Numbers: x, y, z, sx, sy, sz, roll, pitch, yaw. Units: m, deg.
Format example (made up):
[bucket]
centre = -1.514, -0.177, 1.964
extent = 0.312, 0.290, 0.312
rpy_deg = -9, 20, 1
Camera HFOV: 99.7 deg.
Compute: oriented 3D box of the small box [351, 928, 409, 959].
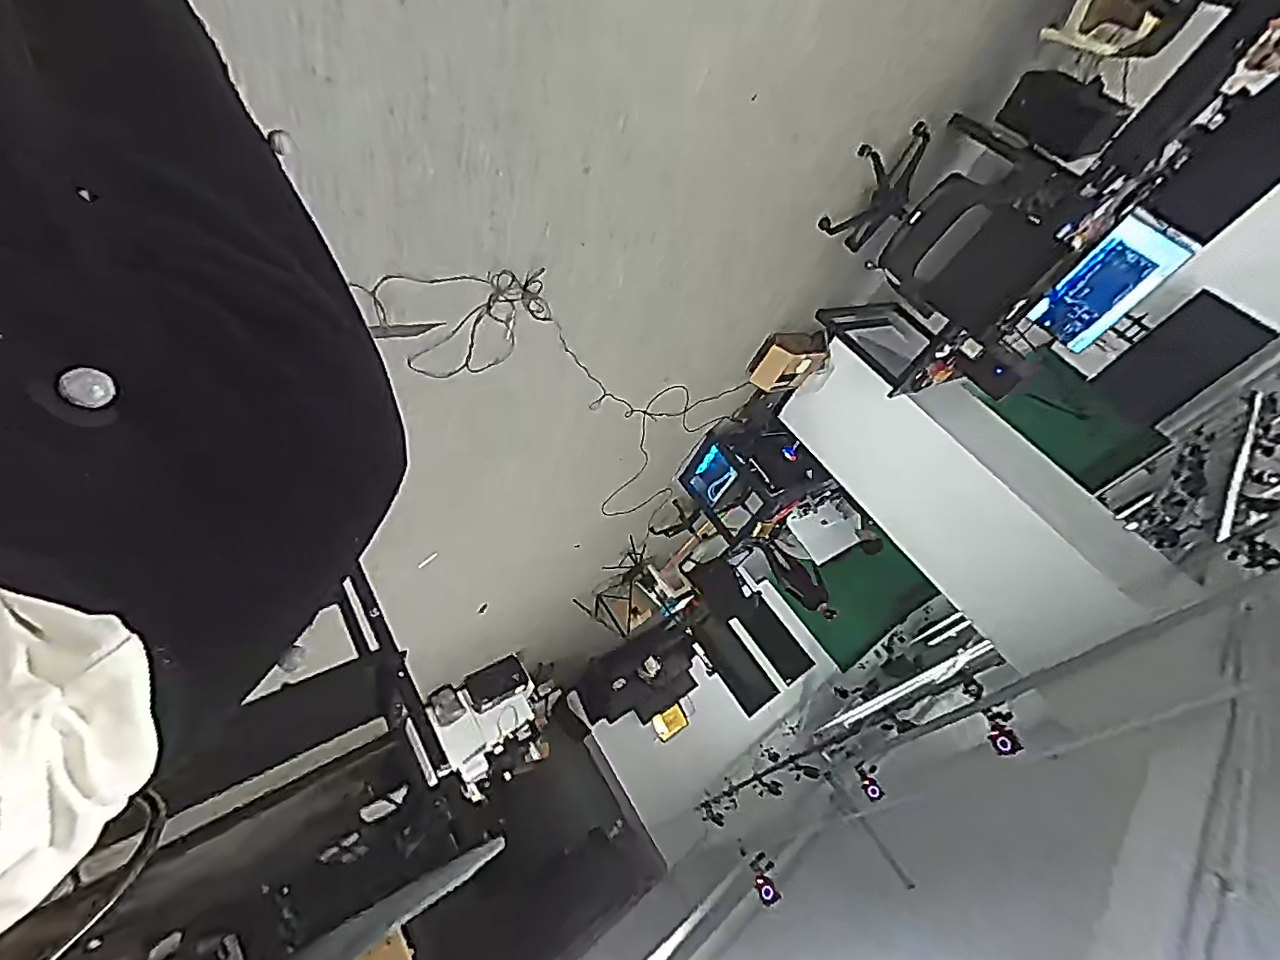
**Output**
[small box]
centre = -0.846, 1.606, 1.762
extent = 0.168, 0.176, 0.179
rpy_deg = -20, 152, -35
